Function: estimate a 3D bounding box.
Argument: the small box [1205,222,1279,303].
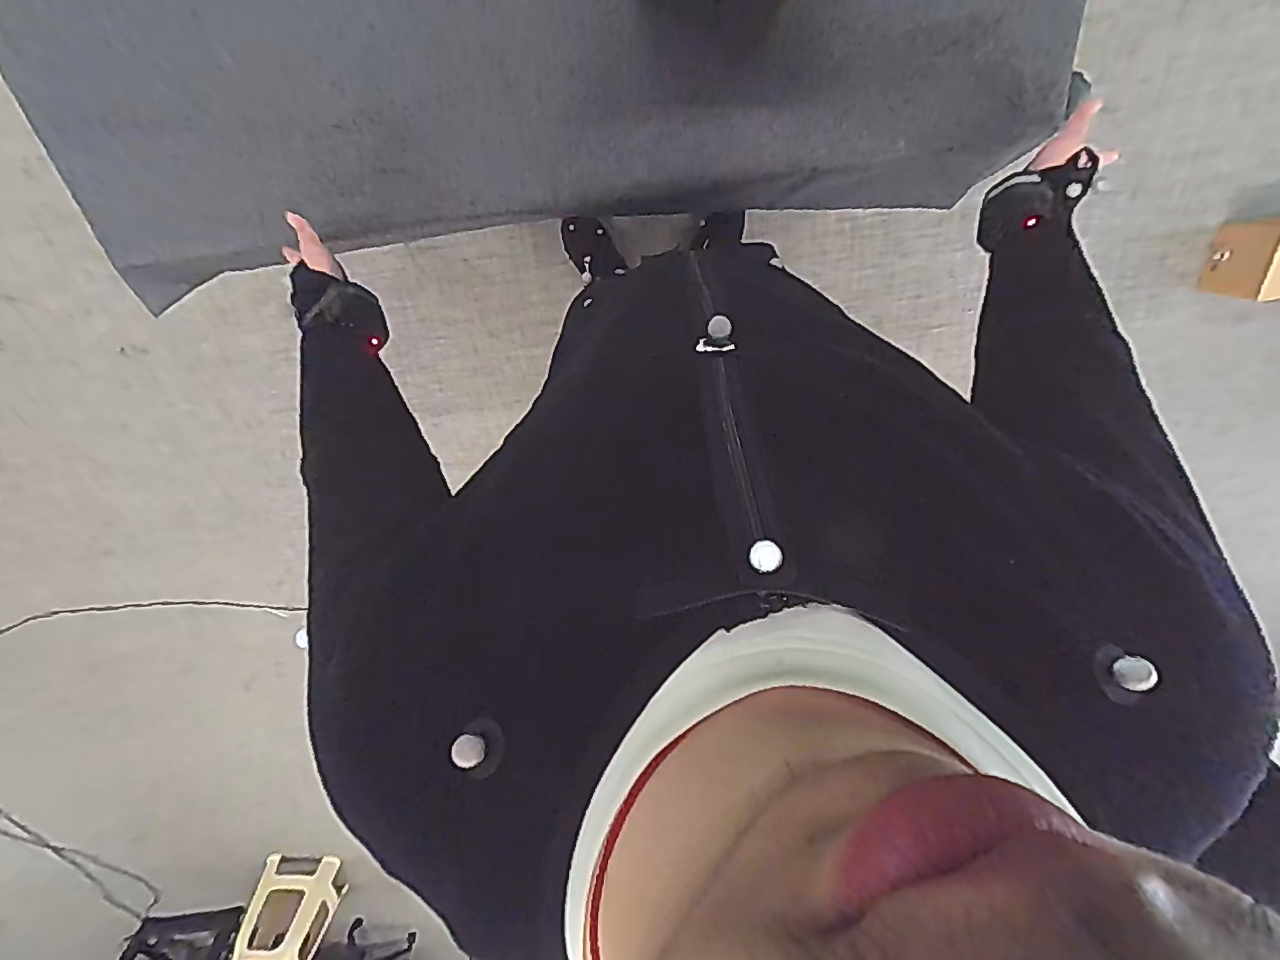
[{"bbox_3d":[1.591,-0.545,1.341,0.179,0.176,0.168,-5,117,2],"label":"small box"}]
